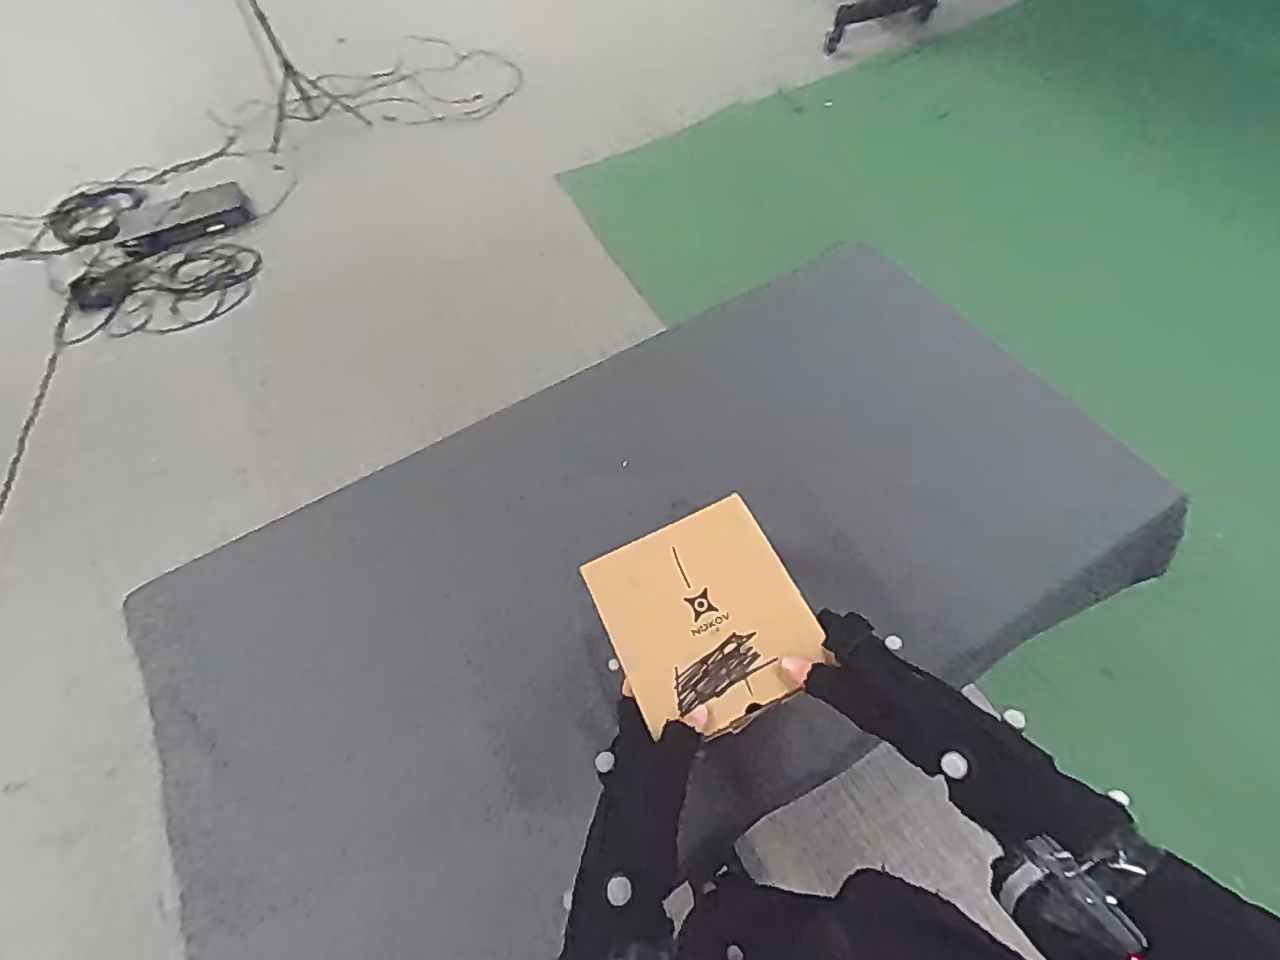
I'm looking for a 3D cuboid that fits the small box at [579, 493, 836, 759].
[{"bbox_3d":[0.061,0.147,0.541,0.168,0.176,0.179,-28,67,-7],"label":"small box"}]
